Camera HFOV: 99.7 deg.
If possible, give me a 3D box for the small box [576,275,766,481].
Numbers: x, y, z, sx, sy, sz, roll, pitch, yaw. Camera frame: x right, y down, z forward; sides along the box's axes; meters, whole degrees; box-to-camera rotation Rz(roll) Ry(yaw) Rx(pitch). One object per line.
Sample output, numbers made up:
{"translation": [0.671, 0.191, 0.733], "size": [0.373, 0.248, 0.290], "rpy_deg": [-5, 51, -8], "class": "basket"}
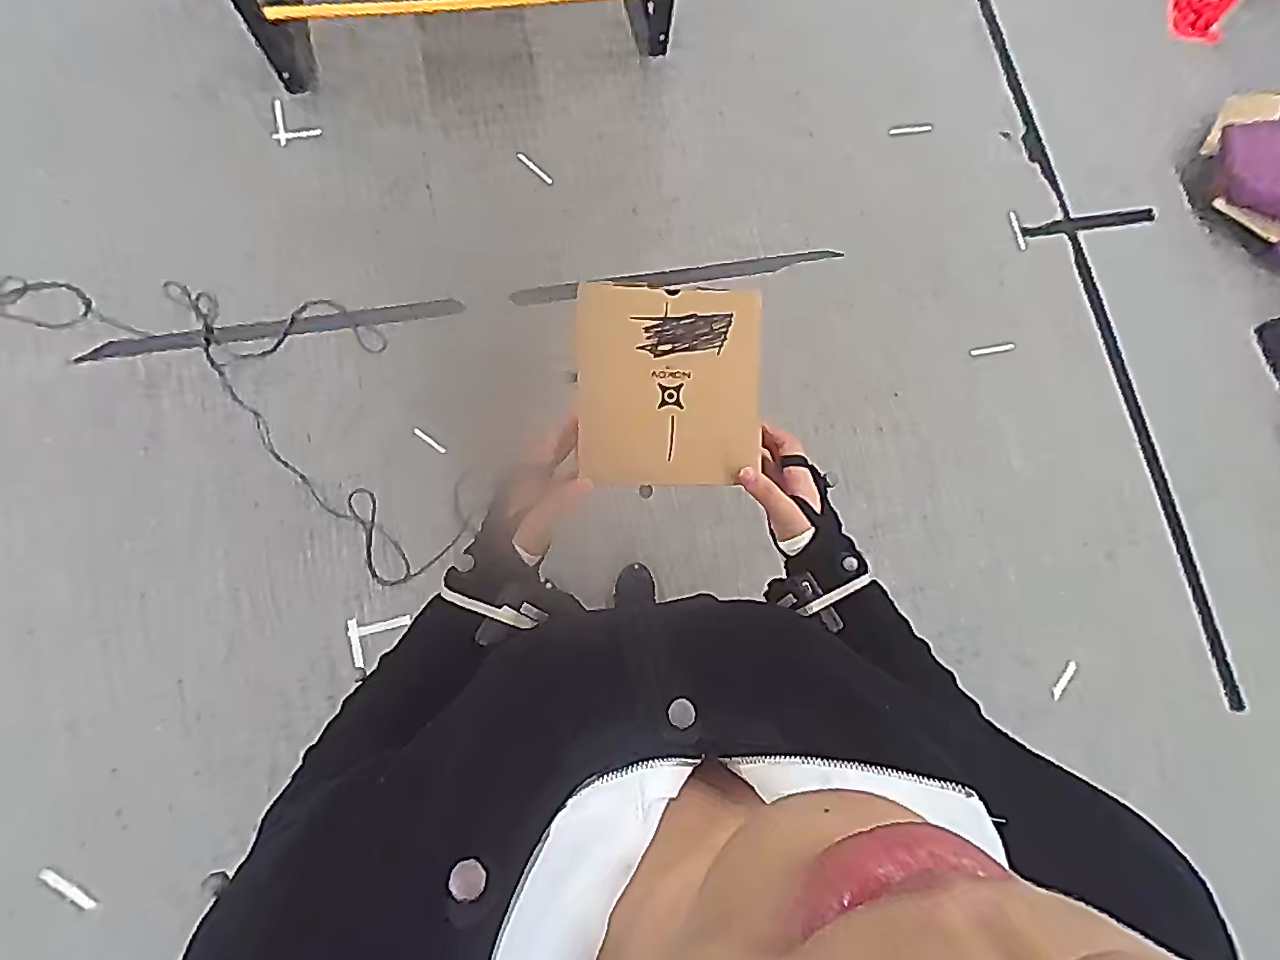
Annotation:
{"translation": [0.019, -0.088, 0.547], "size": [0.168, 0.176, 0.179], "rpy_deg": [-1, 91, -7], "class": "small box"}
